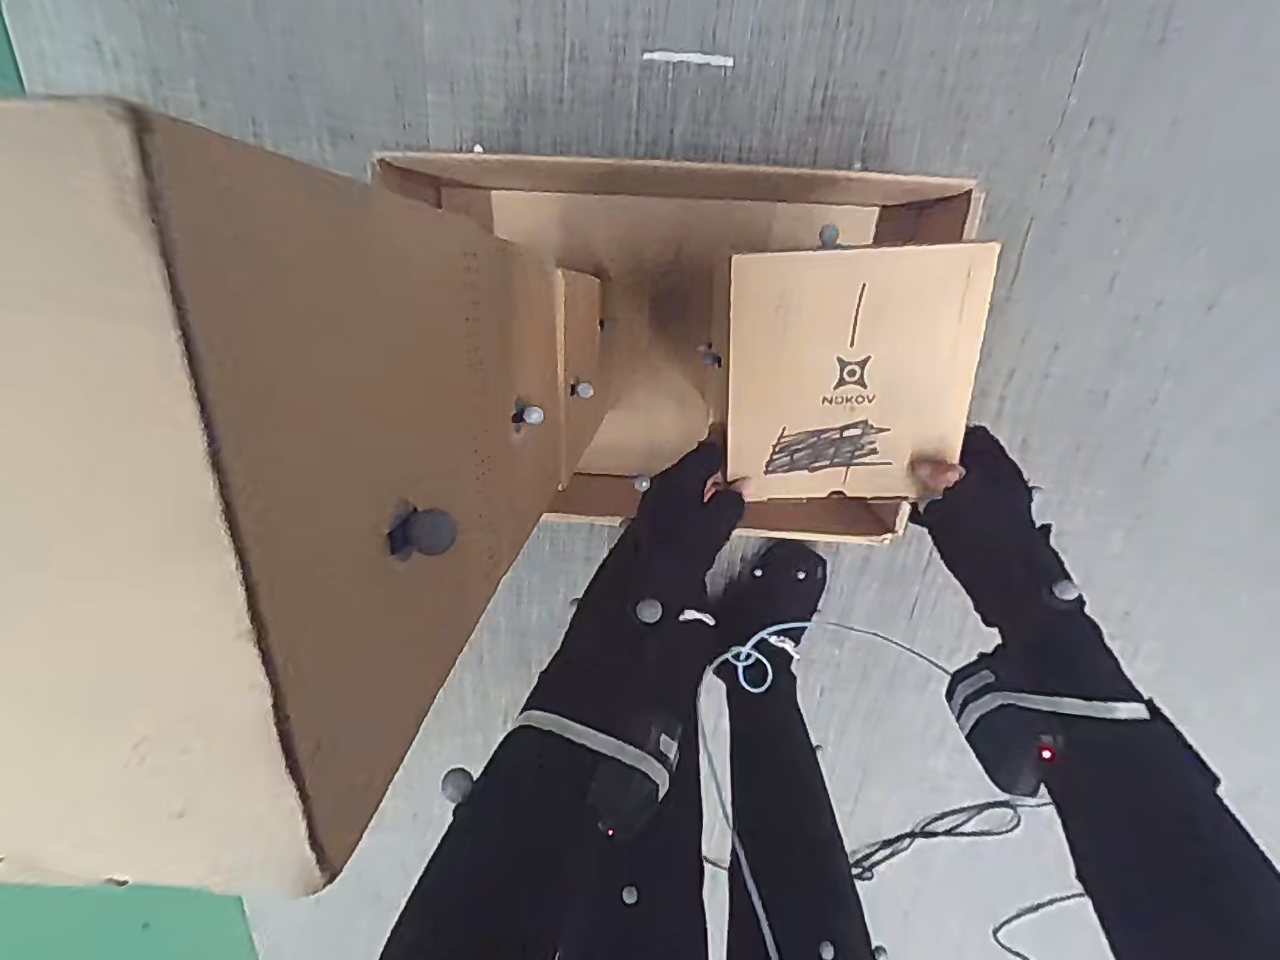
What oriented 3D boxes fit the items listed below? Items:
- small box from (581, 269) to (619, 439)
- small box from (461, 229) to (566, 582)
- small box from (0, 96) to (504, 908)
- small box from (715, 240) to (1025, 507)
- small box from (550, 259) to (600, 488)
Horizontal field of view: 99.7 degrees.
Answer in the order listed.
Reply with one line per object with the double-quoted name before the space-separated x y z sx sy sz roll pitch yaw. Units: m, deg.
"small box" -0.118 -0.161 0.647 0.168 0.176 0.179 6 110 3
"small box" -0.142 -0.058 0.339 0.168 0.176 0.179 2 110 2
"small box" -0.152 -0.005 0.184 0.168 0.176 0.179 2 111 2
"small box" 0.153 -0.095 0.433 0.168 0.176 0.179 1 114 1
"small box" -0.130 -0.107 0.494 0.168 0.176 0.179 4 110 3
